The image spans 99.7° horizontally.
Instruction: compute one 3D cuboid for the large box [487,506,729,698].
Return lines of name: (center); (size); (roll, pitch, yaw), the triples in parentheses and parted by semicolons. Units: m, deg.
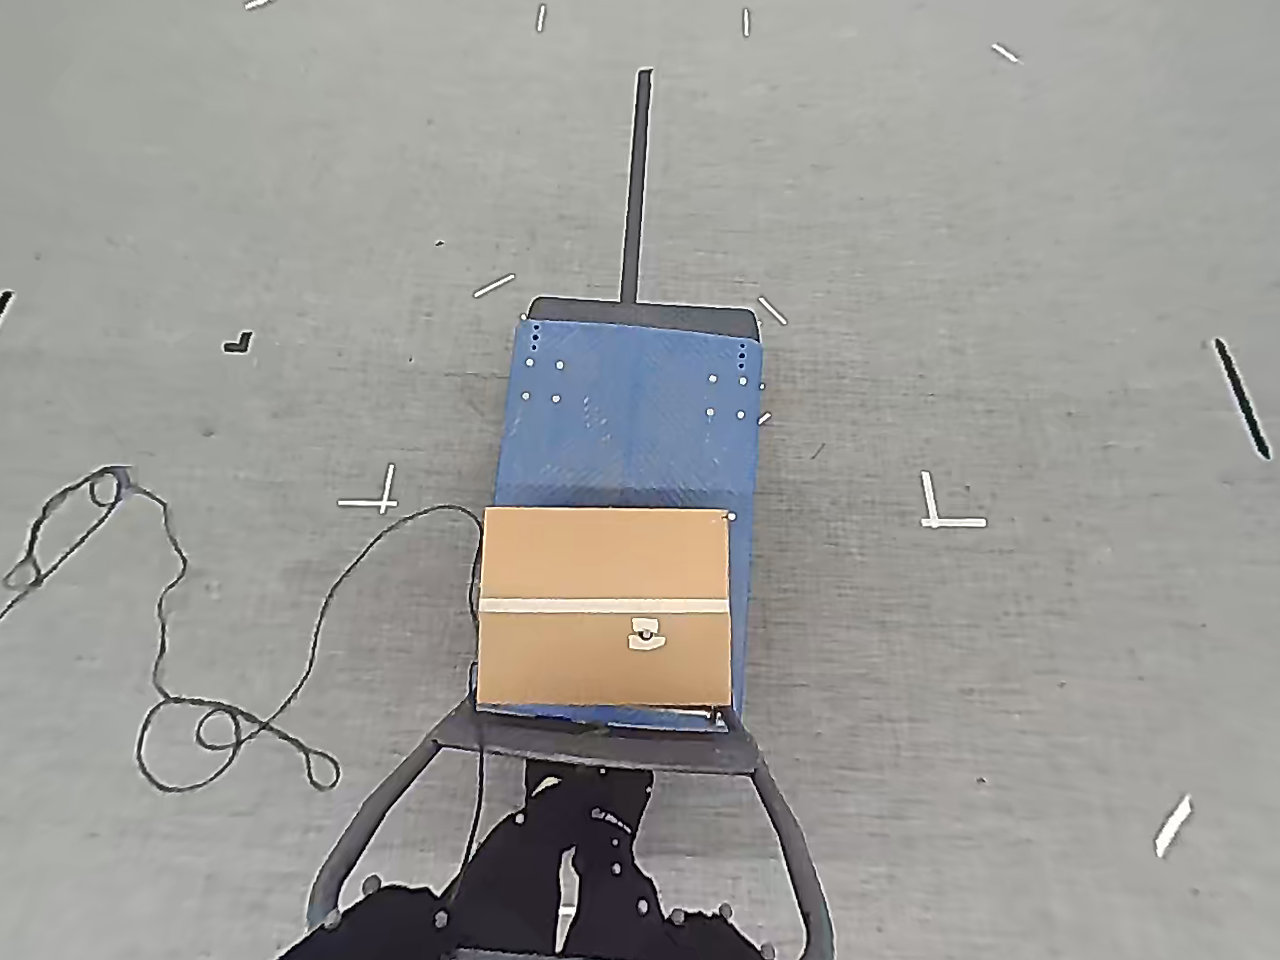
large box: (-0.058, 0.222, 1.047); (0.408, 0.320, 0.320); (1, 83, -2)
